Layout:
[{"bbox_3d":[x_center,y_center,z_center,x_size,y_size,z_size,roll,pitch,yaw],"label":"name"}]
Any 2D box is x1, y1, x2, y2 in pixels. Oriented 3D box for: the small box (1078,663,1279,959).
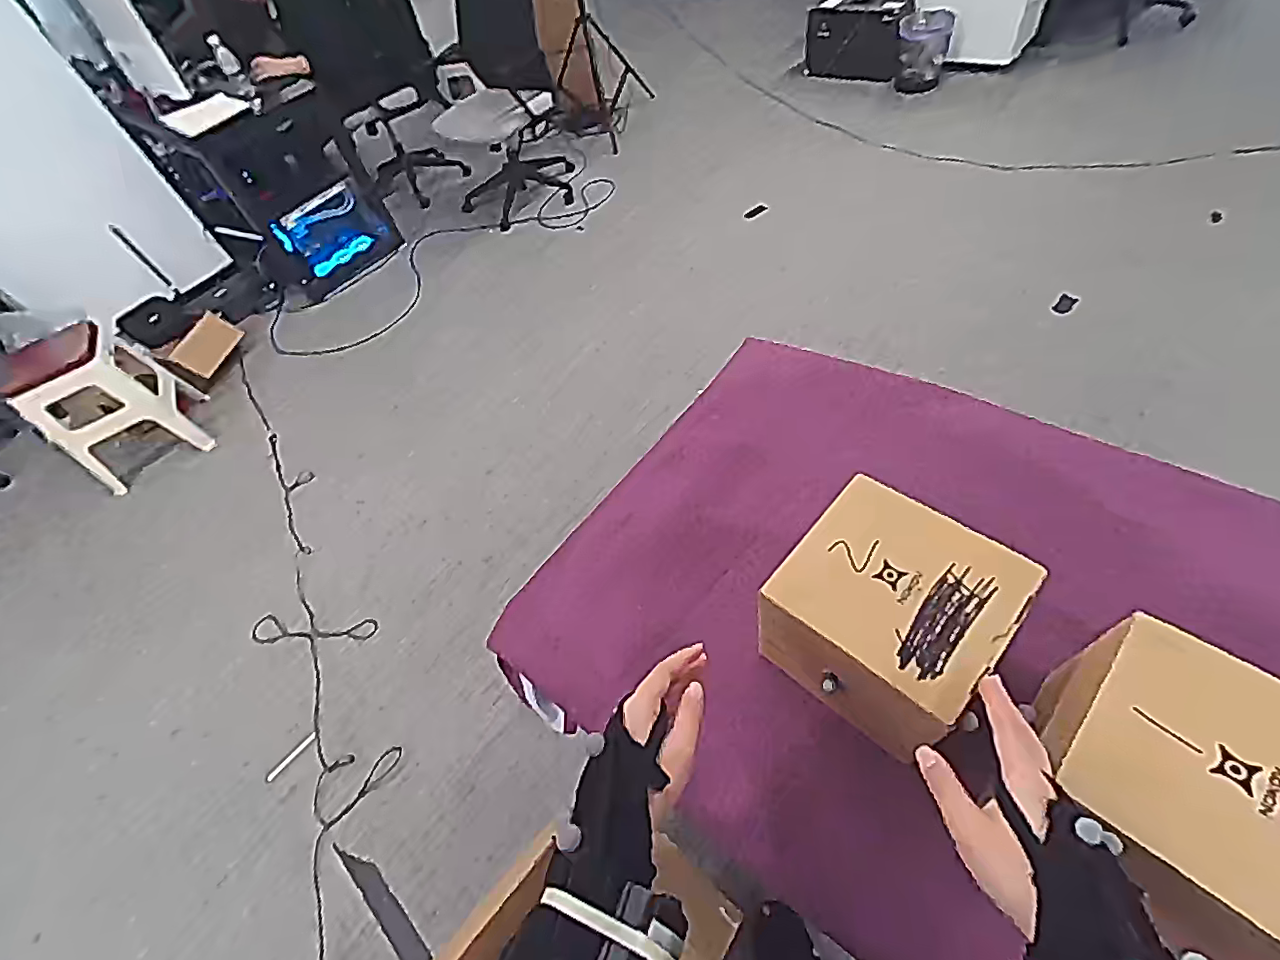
[{"bbox_3d":[0.452,0.255,0.375,0.179,0.176,0.168,11,97,25],"label":"small box"}]
